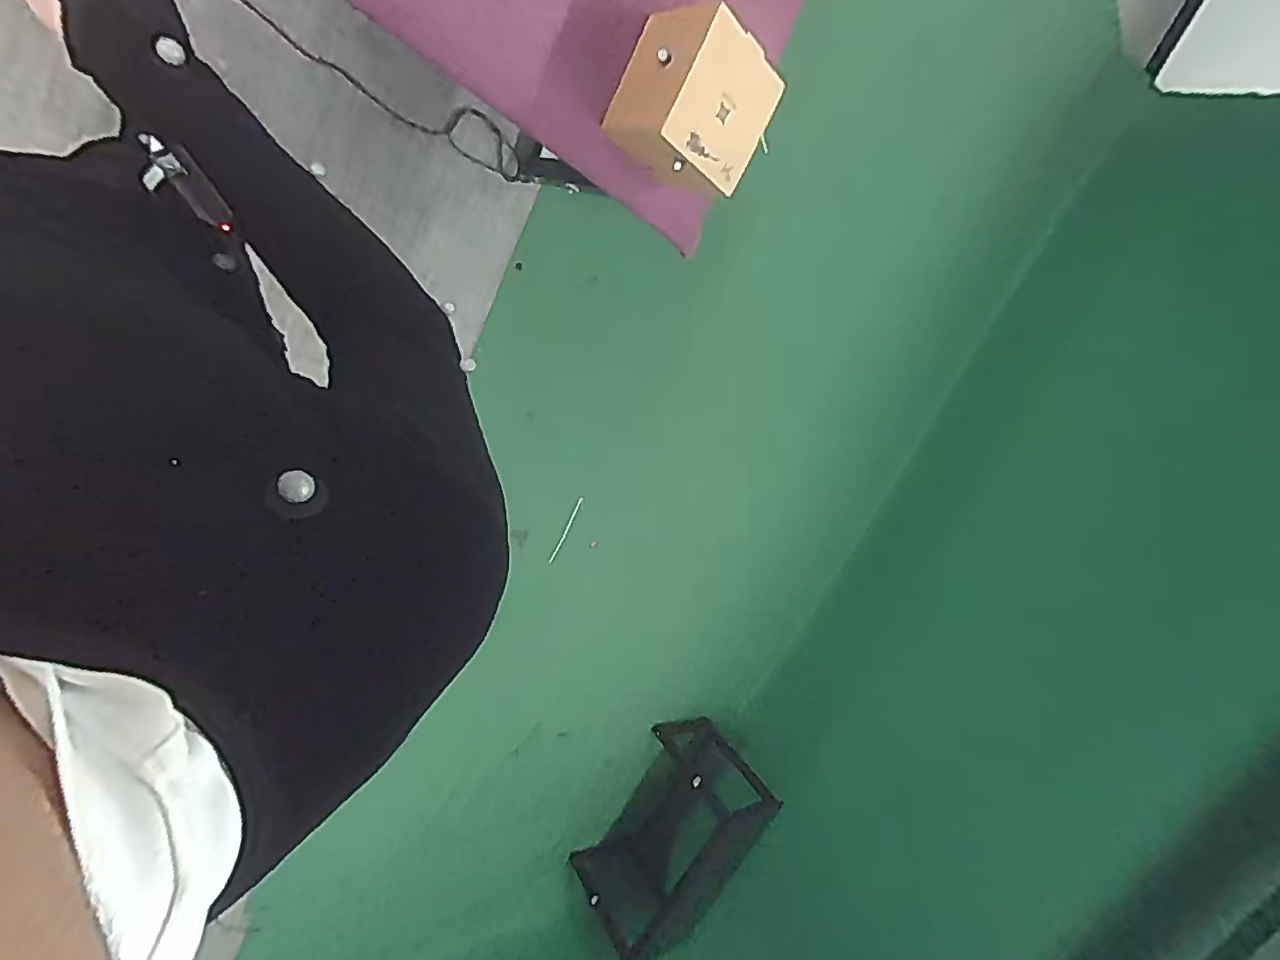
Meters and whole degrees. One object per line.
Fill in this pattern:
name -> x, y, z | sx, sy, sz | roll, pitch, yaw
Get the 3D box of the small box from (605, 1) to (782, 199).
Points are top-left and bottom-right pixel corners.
small box -> 0.073, -0.565, 0.822 | 0.168, 0.176, 0.179 | 16, 108, -42
